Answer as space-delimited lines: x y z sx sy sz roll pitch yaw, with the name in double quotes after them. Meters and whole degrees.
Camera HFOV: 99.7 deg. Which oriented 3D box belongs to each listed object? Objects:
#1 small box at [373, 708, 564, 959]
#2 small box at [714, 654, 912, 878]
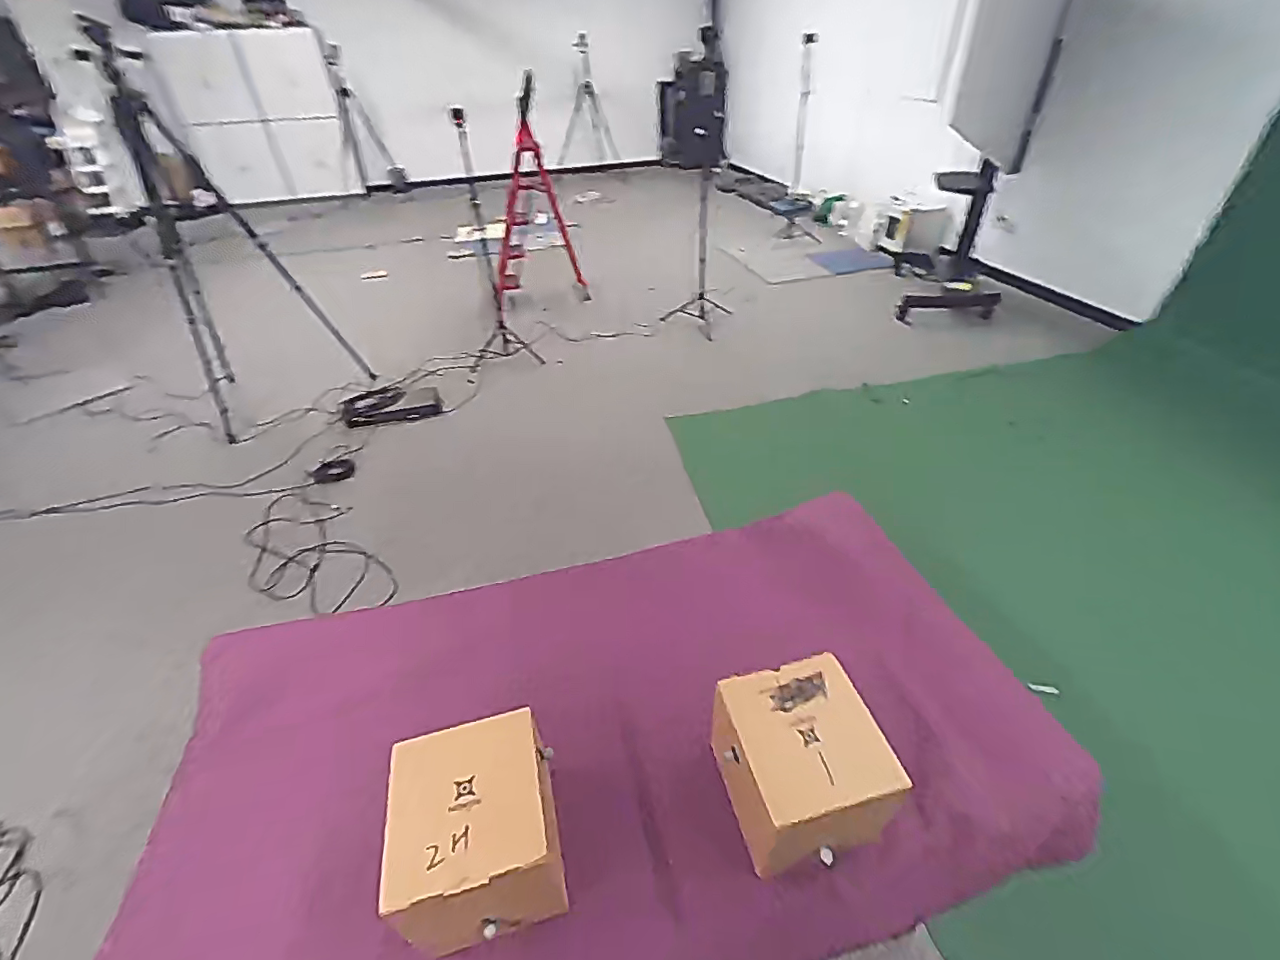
-0.191 0.410 0.636 0.168 0.176 0.179 -12 38 -10 "small box"
0.197 0.355 0.681 0.168 0.176 0.179 -11 39 -9 "small box"
